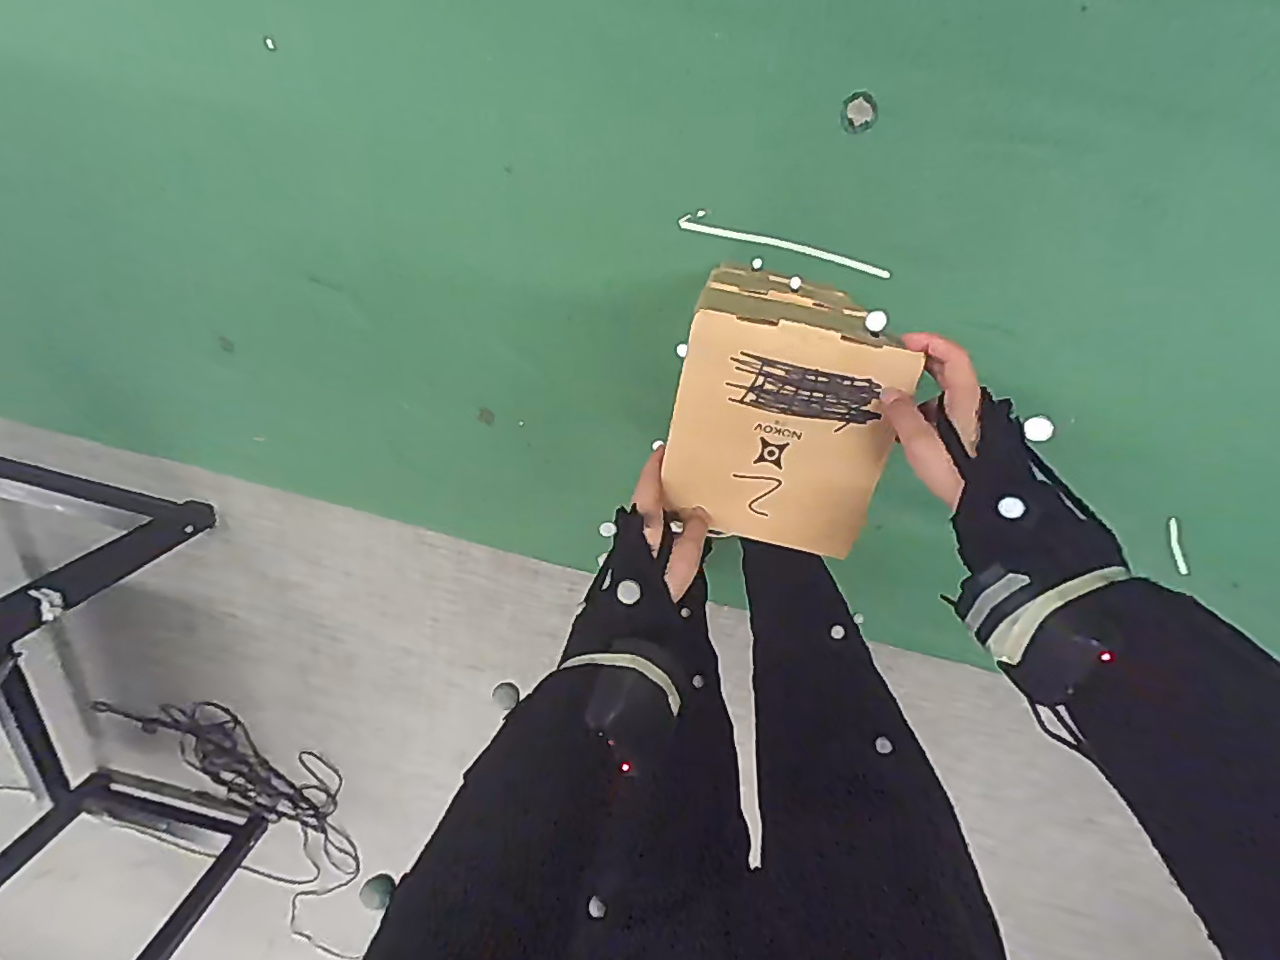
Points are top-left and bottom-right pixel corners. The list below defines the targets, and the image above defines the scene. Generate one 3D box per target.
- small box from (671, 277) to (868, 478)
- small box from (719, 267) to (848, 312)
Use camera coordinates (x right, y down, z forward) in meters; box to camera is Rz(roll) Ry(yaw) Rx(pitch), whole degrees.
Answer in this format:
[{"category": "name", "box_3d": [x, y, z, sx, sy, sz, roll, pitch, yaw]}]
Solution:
[{"category": "small box", "box_3d": [0.141, -0.129, 0.634, 0.168, 0.176, 0.179, 13, 115, 4]}, {"category": "small box", "box_3d": [0.175, -0.198, 0.778, 0.168, 0.176, 0.179, 14, 117, 3]}]
